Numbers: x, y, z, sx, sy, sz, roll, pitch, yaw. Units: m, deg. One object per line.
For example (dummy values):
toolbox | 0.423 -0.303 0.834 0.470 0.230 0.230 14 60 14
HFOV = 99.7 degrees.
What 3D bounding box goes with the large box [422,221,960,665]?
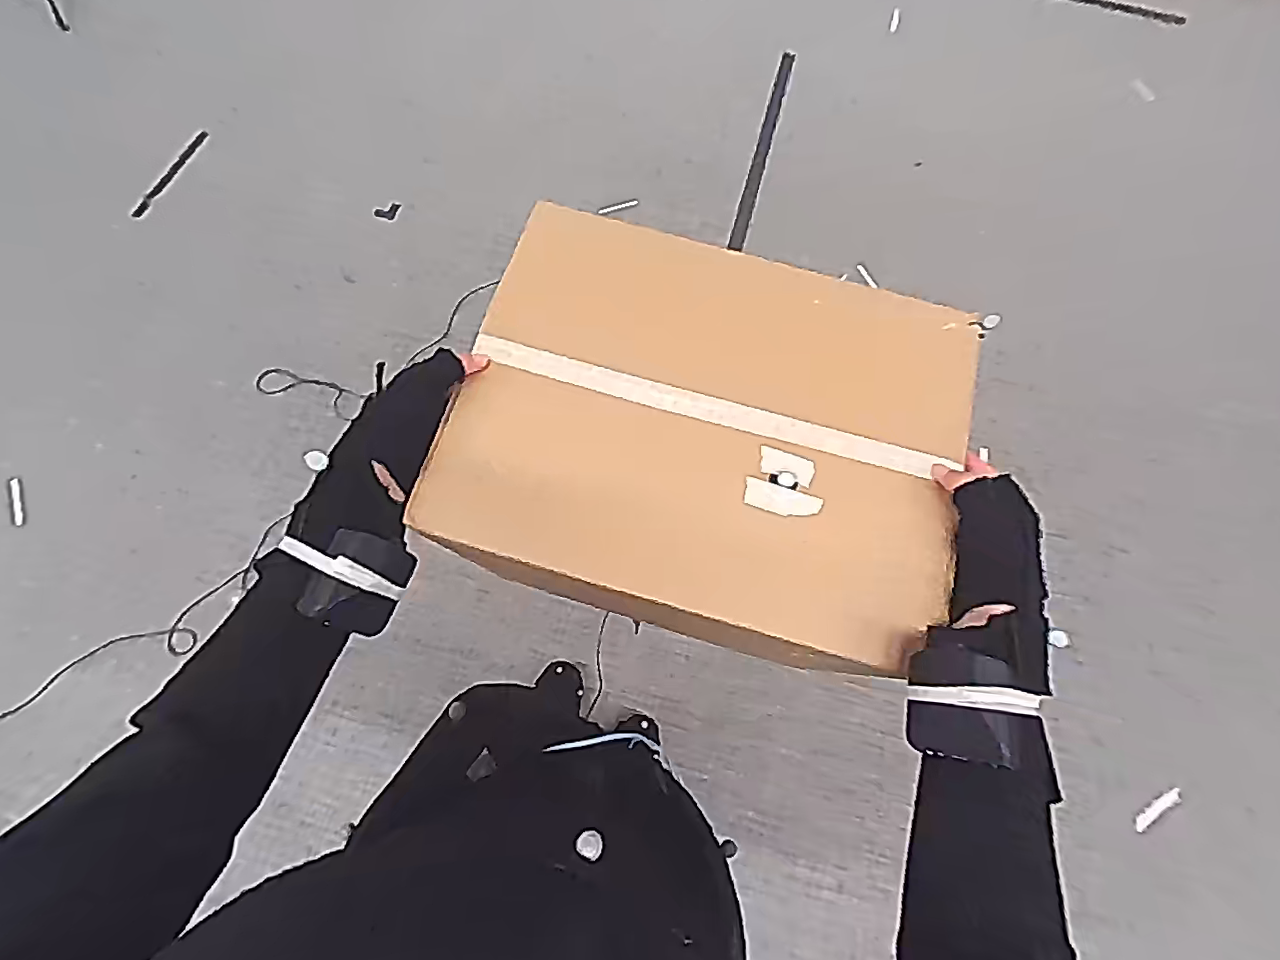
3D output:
large box | 0.052 -0.009 0.592 0.408 0.320 0.320 16 74 2
